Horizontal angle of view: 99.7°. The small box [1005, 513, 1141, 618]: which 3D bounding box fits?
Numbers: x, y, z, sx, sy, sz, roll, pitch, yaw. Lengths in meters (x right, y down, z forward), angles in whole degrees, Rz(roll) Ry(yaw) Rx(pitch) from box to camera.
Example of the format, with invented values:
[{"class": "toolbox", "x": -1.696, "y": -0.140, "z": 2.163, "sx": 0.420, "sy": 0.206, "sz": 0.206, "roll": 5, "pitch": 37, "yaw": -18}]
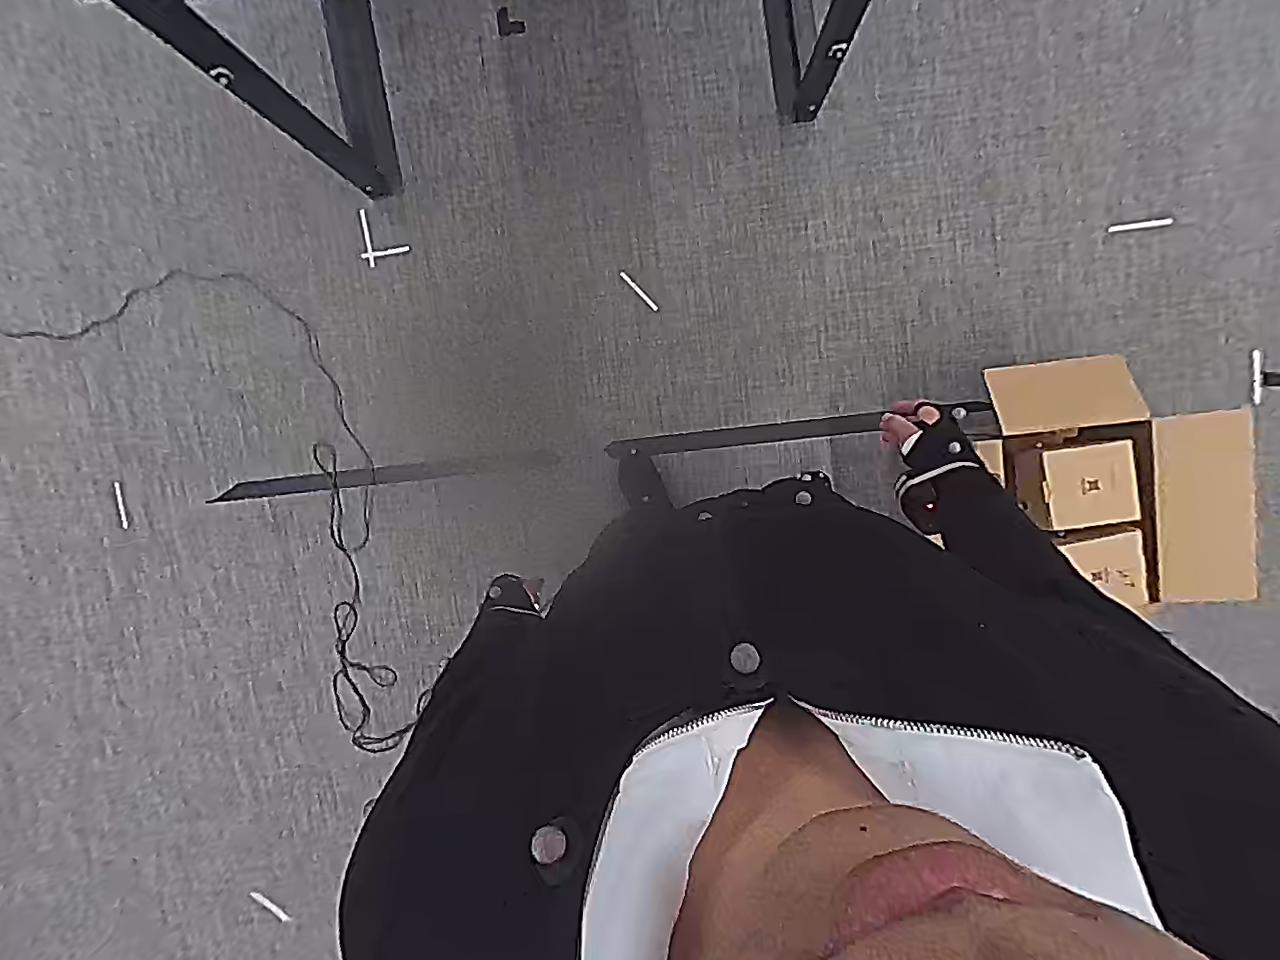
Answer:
[{"class": "small box", "x": 0.943, "y": 0.184, "z": 1.197, "sx": 0.179, "sy": 0.176, "sz": 0.168, "roll": -13, "pitch": 99, "yaw": 5}]
